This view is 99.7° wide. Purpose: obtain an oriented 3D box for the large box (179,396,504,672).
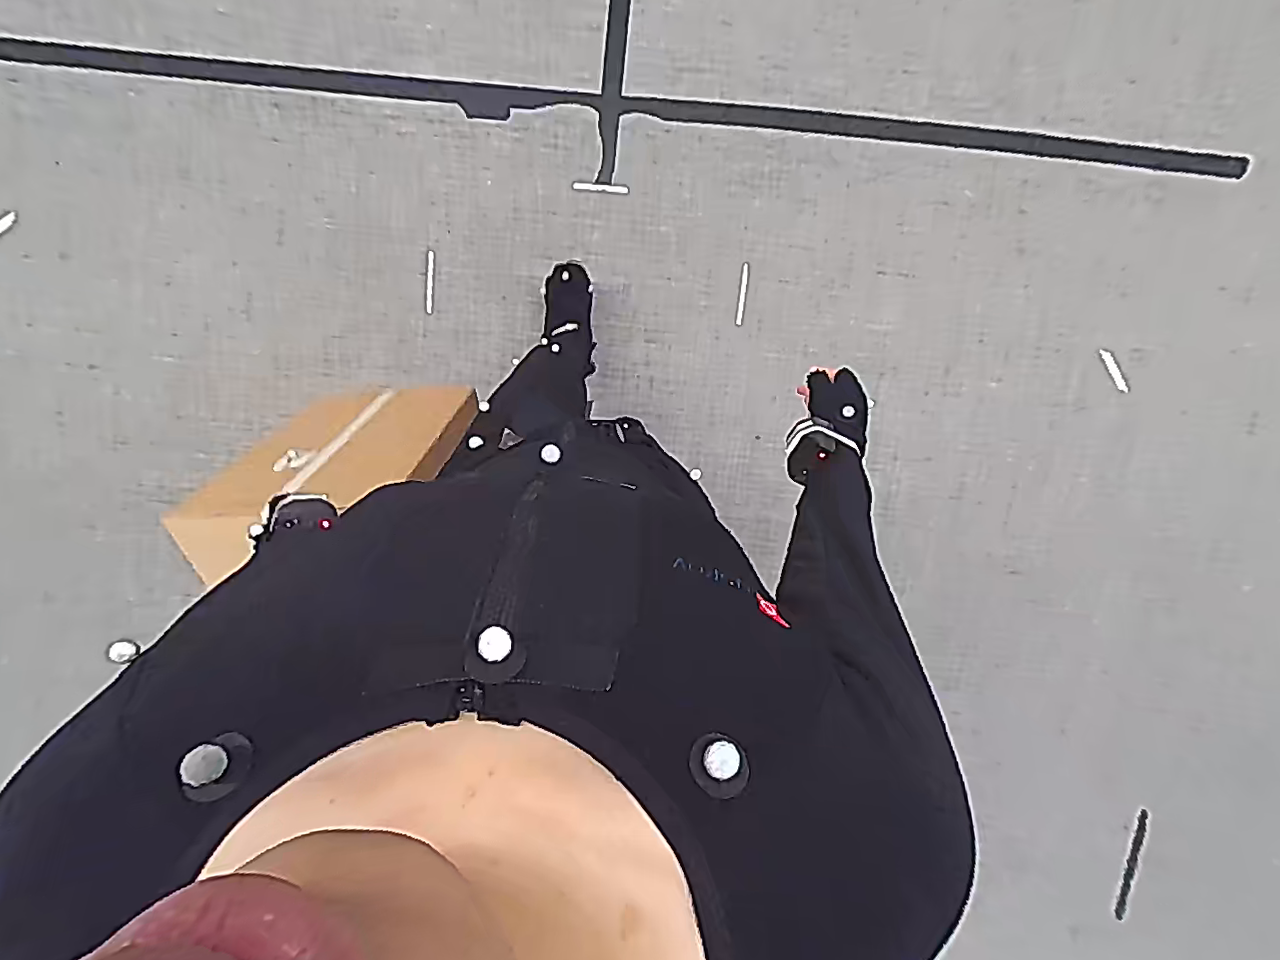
[{"bbox_3d":[-0.463,0.077,0.968,0.320,0.408,0.320,-4,122,5],"label":"large box"}]
